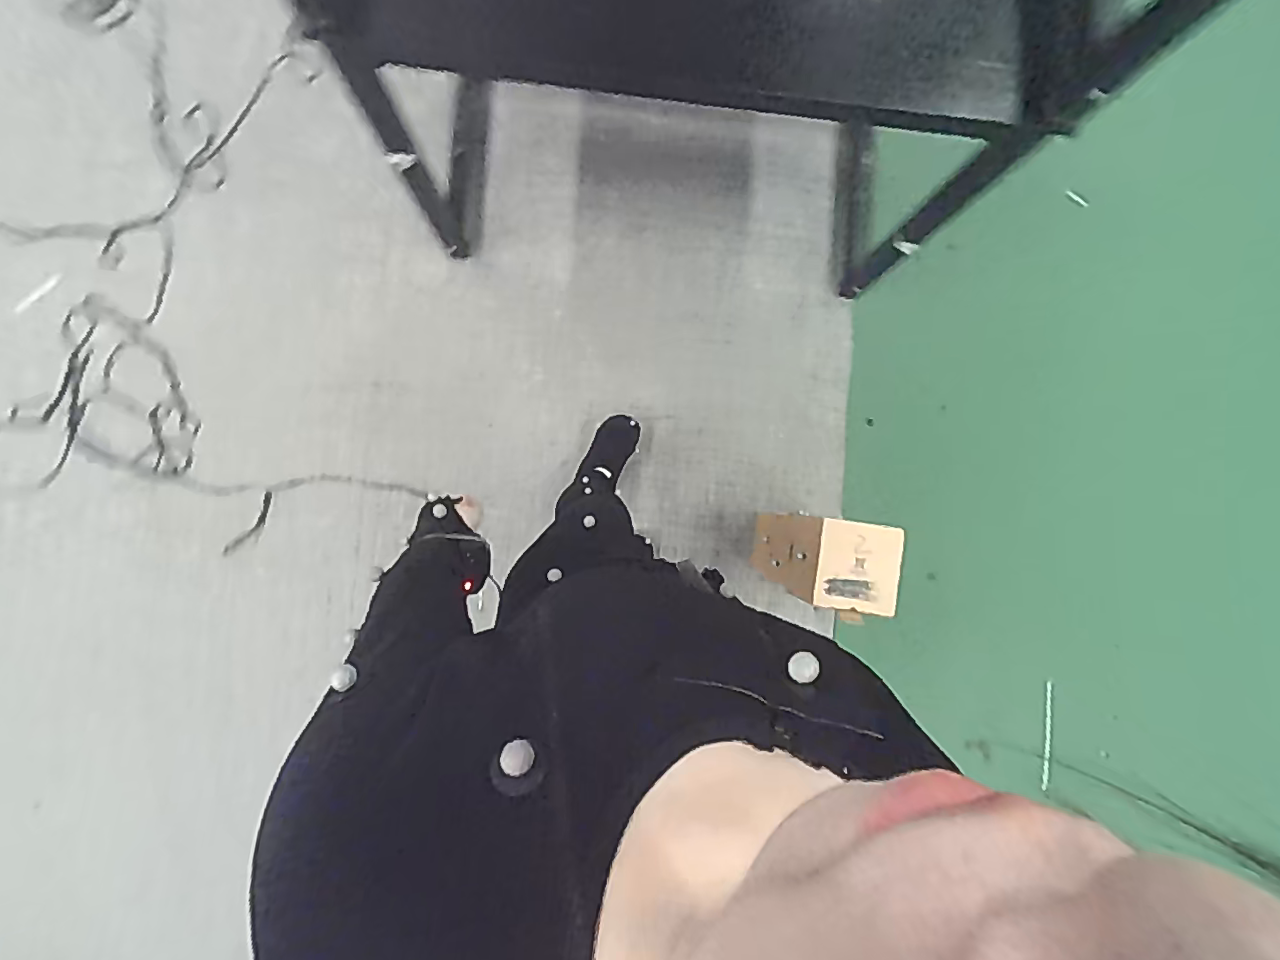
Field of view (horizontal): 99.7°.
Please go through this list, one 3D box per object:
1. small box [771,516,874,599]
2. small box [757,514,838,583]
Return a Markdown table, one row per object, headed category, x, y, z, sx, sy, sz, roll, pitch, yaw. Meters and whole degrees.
| category | x | y | z | sx | sy | sz | roll | pitch | yaw |
| --- | --- | --- | --- | --- | --- | --- | --- | --- | --- |
| small box | 0.421 | 0.176 | 1.275 | 0.179 | 0.176 | 0.168 | 7 | 88 | -4 |
| small box | 0.418 | 0.186 | 1.437 | 0.168 | 0.176 | 0.179 | 8 | 88 | -3 |
